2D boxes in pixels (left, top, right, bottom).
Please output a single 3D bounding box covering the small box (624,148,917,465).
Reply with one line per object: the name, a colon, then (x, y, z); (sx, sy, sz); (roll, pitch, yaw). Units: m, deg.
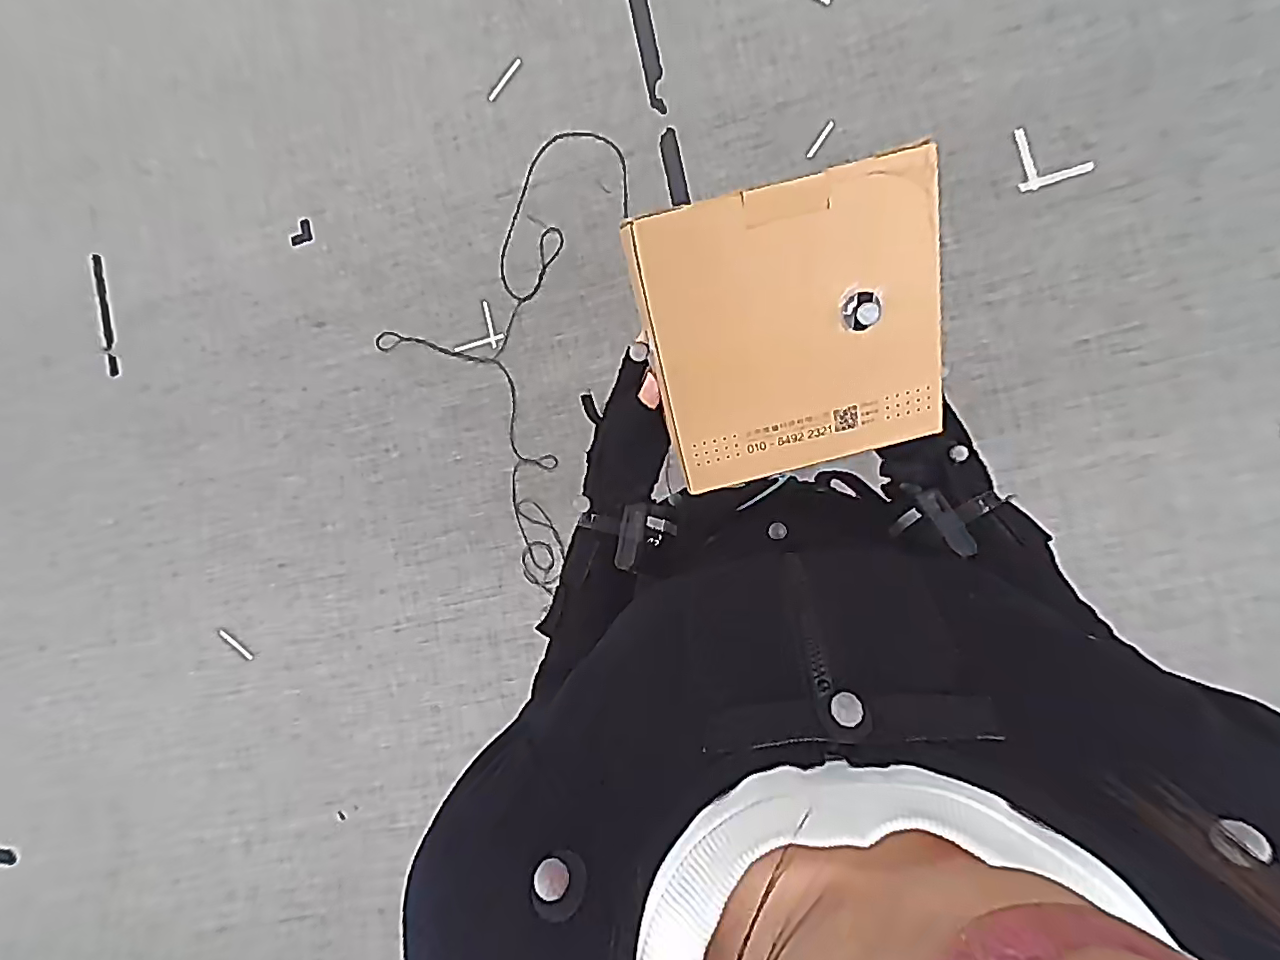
small box: (0.089, -0.122, 0.407); (0.168, 0.179, 0.176); (-13, 114, 2)
